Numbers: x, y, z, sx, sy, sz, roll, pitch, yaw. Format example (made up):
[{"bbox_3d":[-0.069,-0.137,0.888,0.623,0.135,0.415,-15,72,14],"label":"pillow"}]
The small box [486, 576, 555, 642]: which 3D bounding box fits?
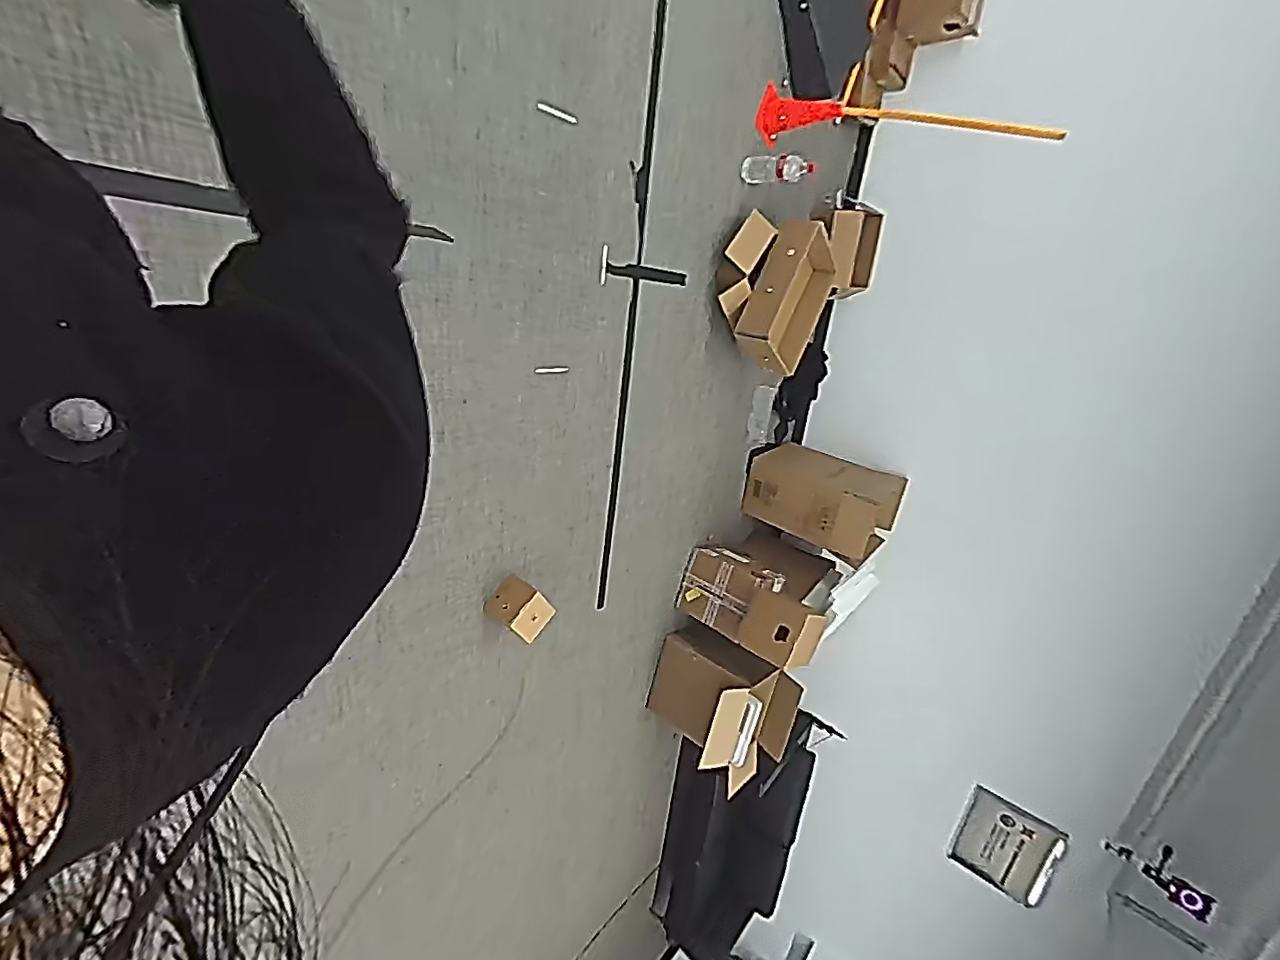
[{"bbox_3d":[-0.476,0.507,2.146,0.168,0.176,0.179,-50,143,-22],"label":"small box"}]
